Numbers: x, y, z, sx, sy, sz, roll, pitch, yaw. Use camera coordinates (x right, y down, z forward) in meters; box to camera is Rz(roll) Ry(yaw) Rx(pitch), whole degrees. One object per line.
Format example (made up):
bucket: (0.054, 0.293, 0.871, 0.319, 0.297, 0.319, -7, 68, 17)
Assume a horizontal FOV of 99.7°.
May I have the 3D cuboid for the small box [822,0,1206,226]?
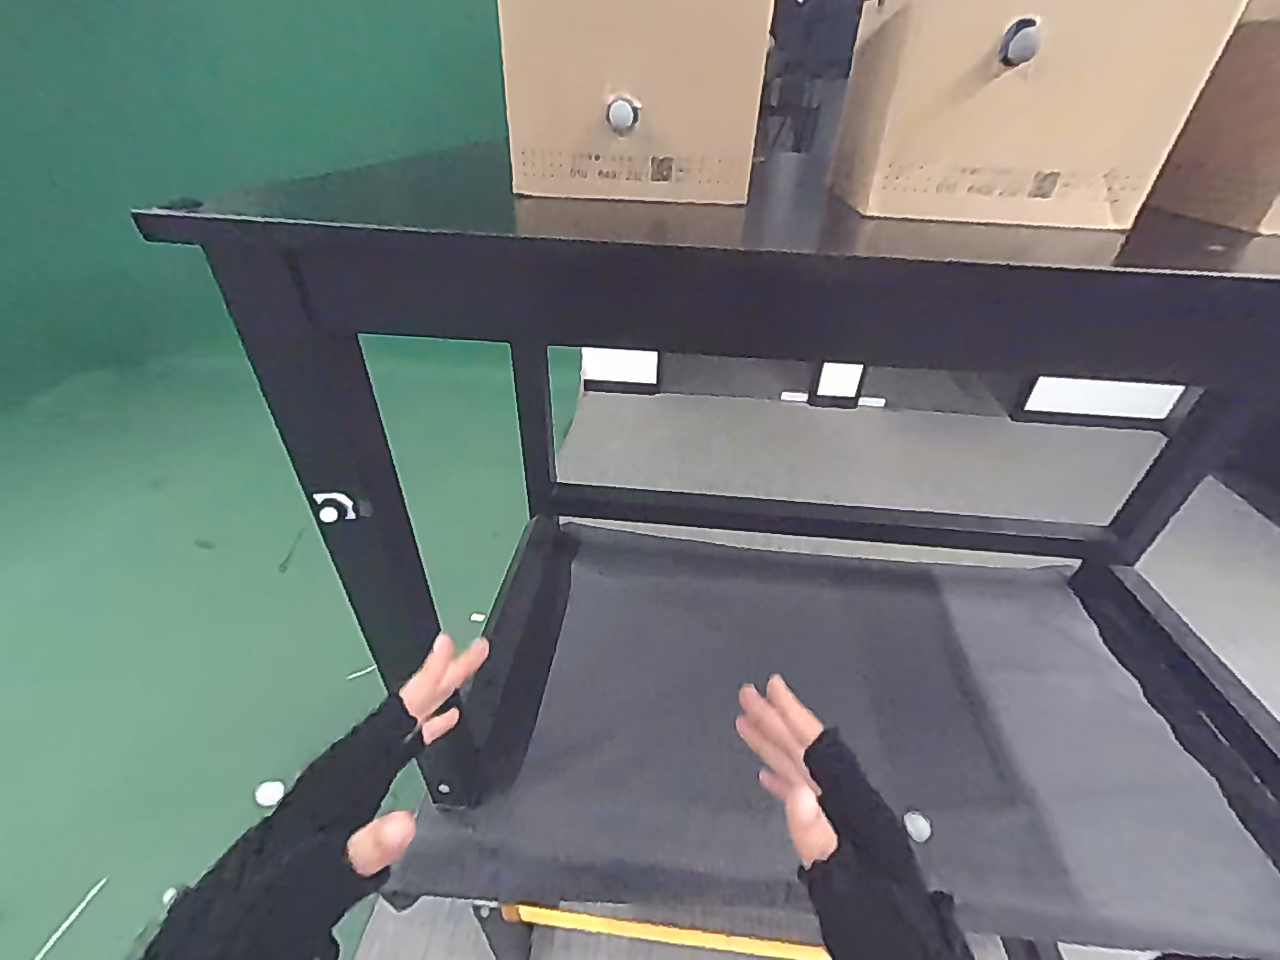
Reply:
small box: (0.232, -0.279, 0.369, 0.168, 0.176, 0.179, 6, 35, 6)
